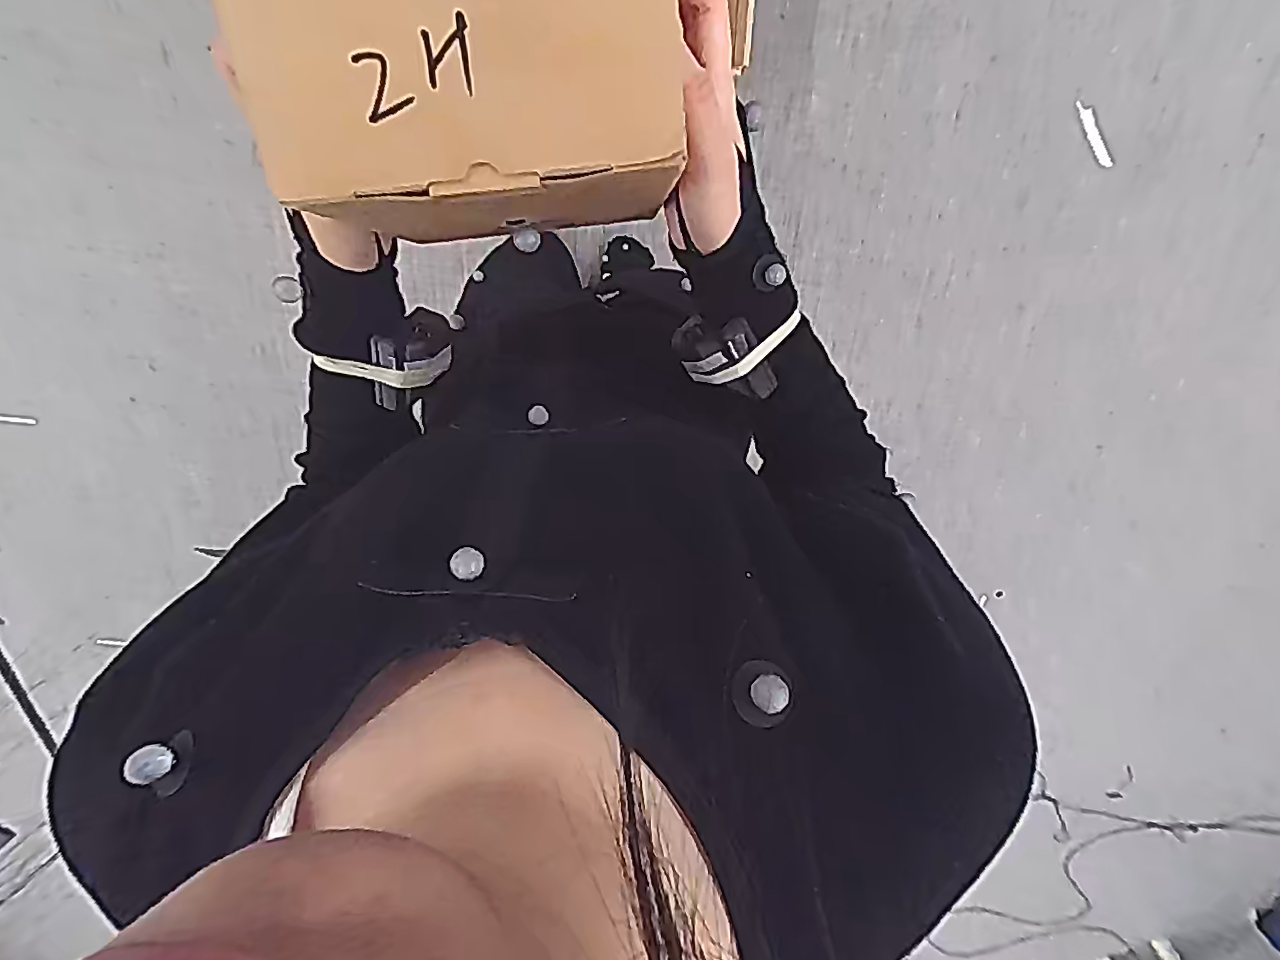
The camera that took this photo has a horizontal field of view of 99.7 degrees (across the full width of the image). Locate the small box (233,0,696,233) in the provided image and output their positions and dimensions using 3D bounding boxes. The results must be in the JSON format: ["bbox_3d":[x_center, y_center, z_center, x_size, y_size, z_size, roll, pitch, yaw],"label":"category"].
[{"bbox_3d":[-0.071,-0.230,0.262,0.168,0.176,0.179,-6,110,-1],"label":"small box"}]
